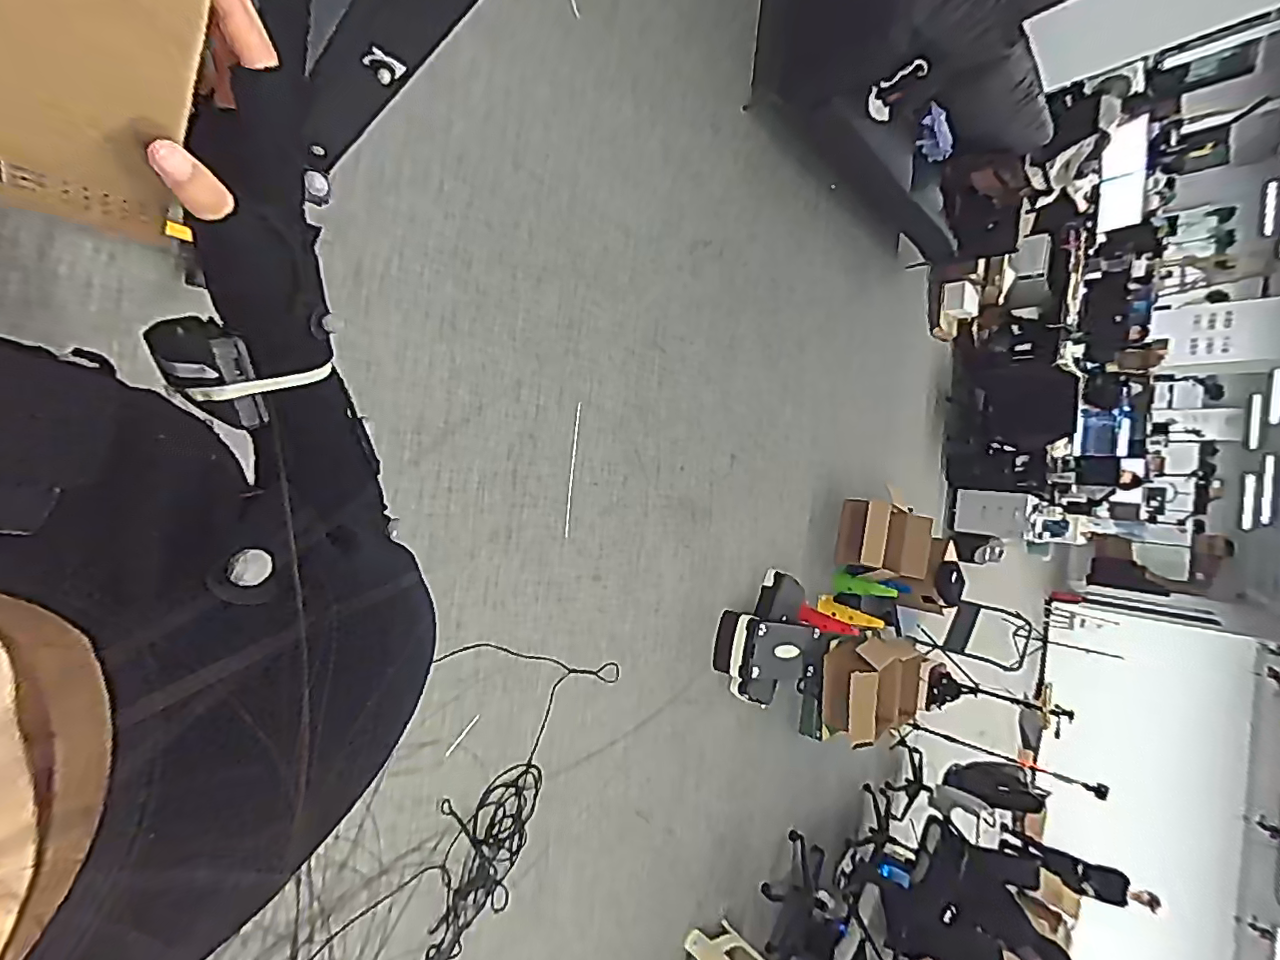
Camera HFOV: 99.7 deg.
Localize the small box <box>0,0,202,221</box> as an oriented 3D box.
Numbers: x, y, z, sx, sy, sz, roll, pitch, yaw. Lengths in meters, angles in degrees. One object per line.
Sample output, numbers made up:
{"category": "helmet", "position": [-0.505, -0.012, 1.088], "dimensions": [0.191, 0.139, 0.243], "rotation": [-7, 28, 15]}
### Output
{"category": "small box", "position": [-0.264, -0.235, 0.192], "dimensions": [0.168, 0.176, 0.179], "rotation": [5, 69, -46]}
